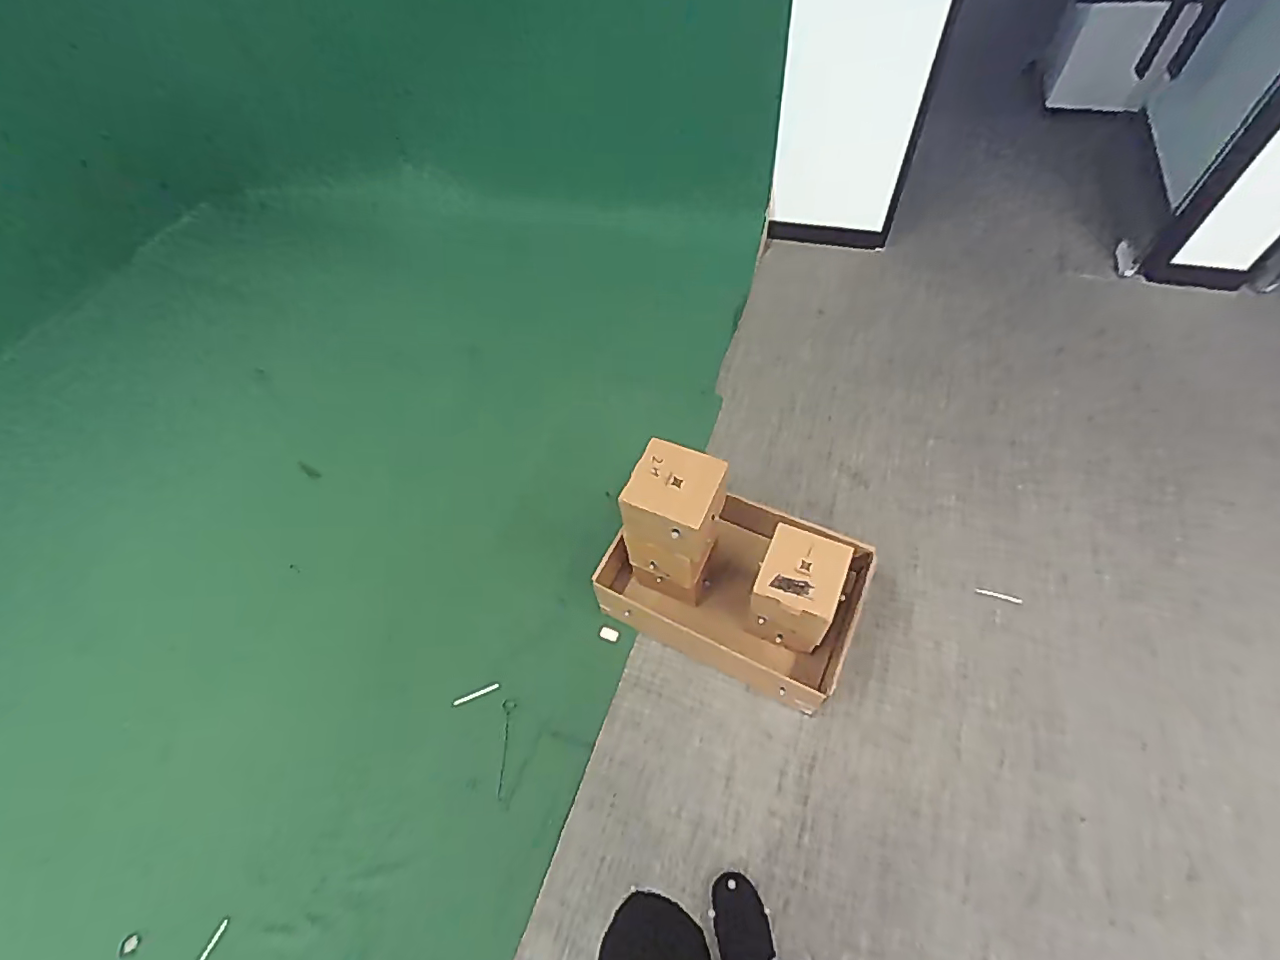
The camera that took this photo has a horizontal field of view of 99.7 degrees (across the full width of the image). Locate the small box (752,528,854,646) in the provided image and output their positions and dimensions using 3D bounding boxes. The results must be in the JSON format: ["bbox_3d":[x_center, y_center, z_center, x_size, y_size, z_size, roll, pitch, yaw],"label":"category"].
[{"bbox_3d":[0.352,0.241,1.191,0.168,0.176,0.179,20,61,19],"label":"small box"}]

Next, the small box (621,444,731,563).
[{"bbox_3d":[0.080,0.057,1.148,0.179,0.176,0.168,20,62,17],"label":"small box"}]

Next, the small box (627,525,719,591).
[{"bbox_3d":[0.083,0.136,1.294,0.168,0.176,0.179,22,63,18],"label":"small box"}]
